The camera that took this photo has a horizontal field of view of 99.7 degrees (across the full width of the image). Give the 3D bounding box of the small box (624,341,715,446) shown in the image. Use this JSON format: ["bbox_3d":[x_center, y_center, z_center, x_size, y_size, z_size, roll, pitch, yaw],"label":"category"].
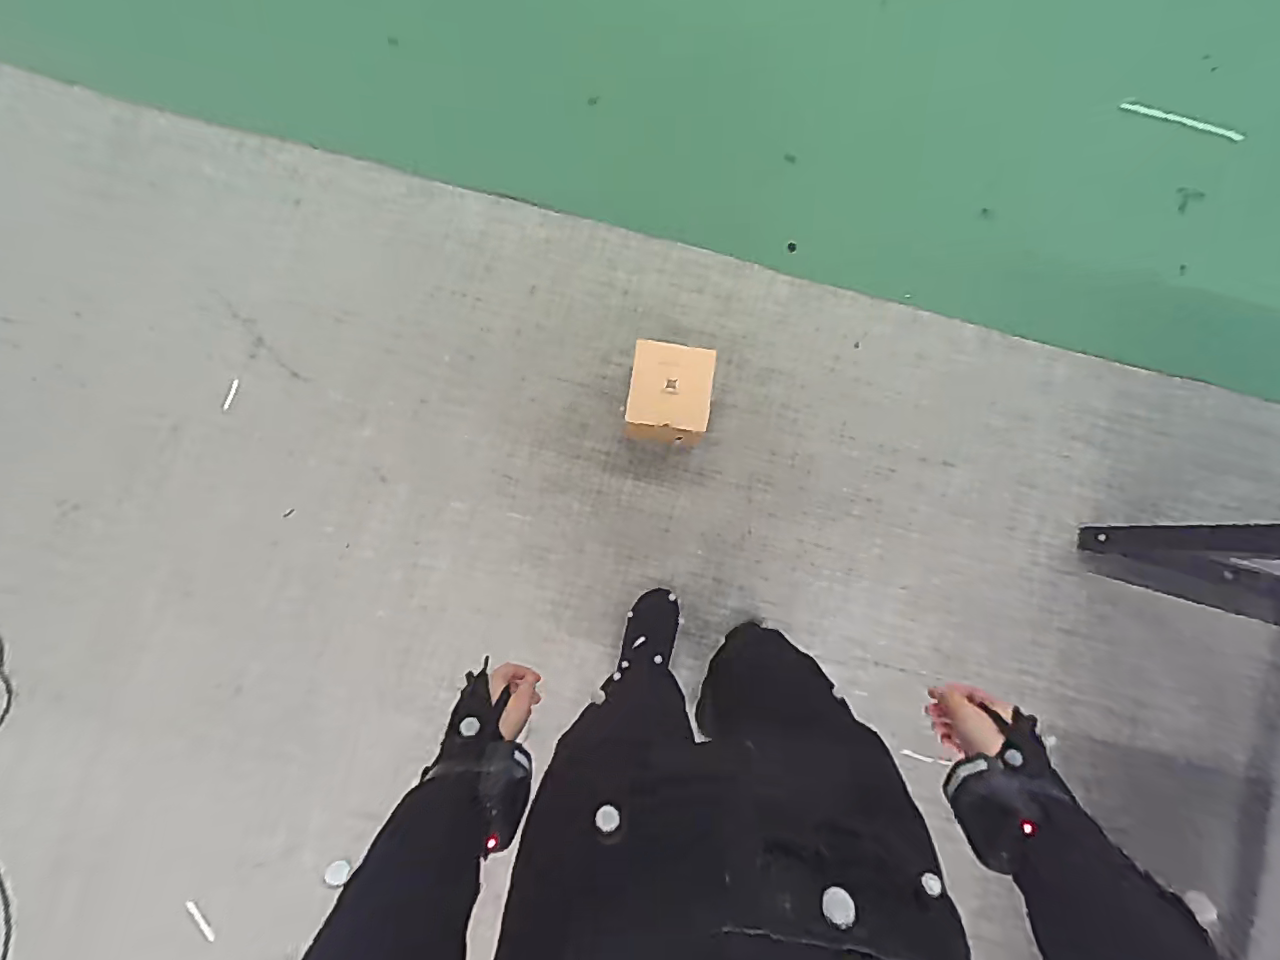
[{"bbox_3d":[0.058,-0.176,1.163,0.168,0.176,0.179,8,83,-2],"label":"small box"}]
